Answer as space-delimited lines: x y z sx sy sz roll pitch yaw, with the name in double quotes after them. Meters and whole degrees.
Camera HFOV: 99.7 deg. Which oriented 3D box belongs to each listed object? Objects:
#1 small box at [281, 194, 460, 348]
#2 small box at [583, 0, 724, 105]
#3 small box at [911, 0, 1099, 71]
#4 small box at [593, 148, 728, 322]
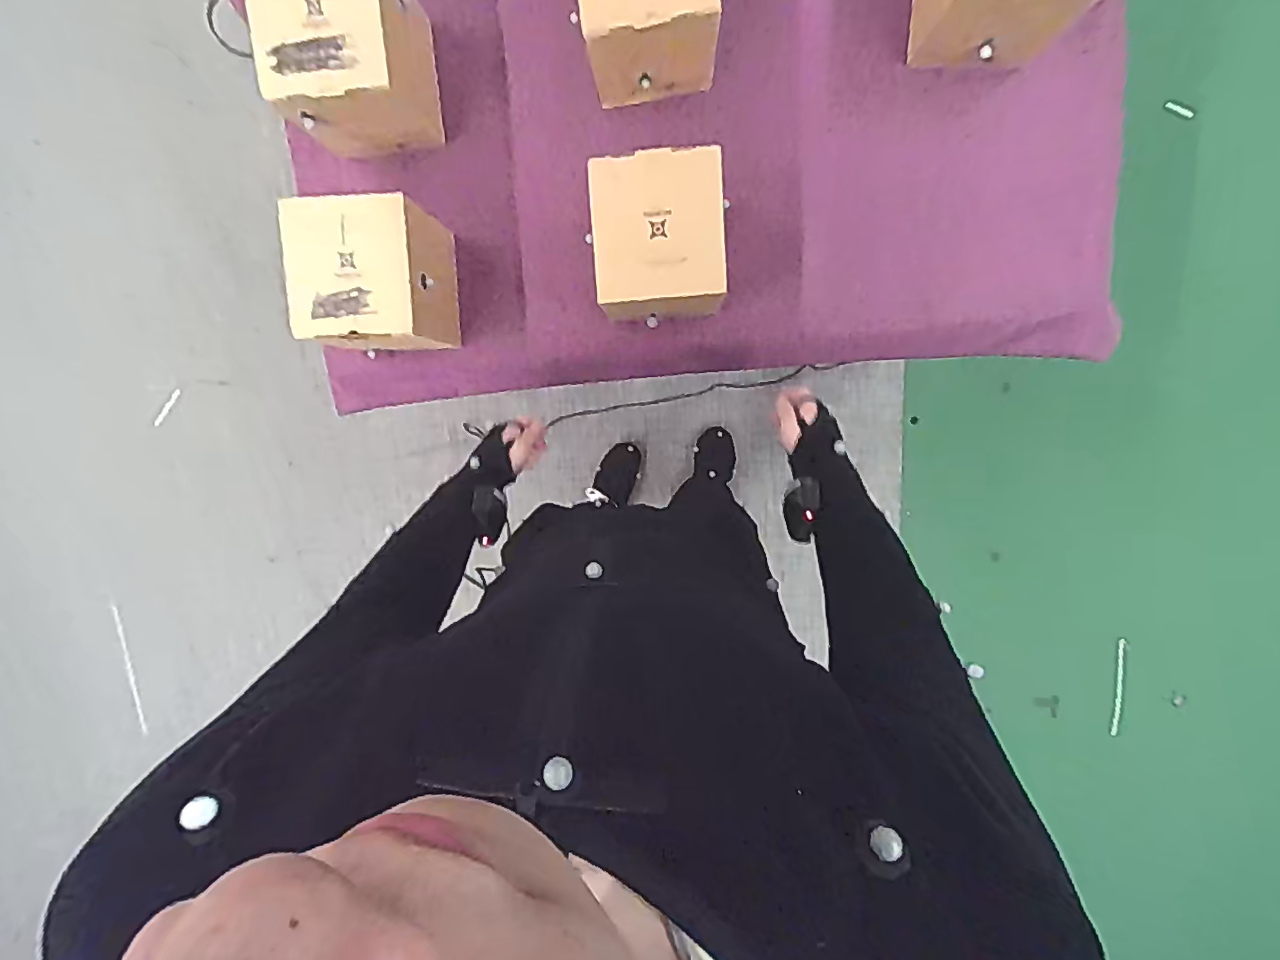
-0.368 -0.283 0.770 0.168 0.176 0.179 -1 98 2 "small box"
0.009 -0.632 0.700 0.168 0.176 0.179 -8 100 3 "small box"
0.460 -0.655 0.673 0.168 0.176 0.179 3 100 3 "small box"
0.029 -0.324 0.748 0.168 0.176 0.179 -3 99 4 "small box"
